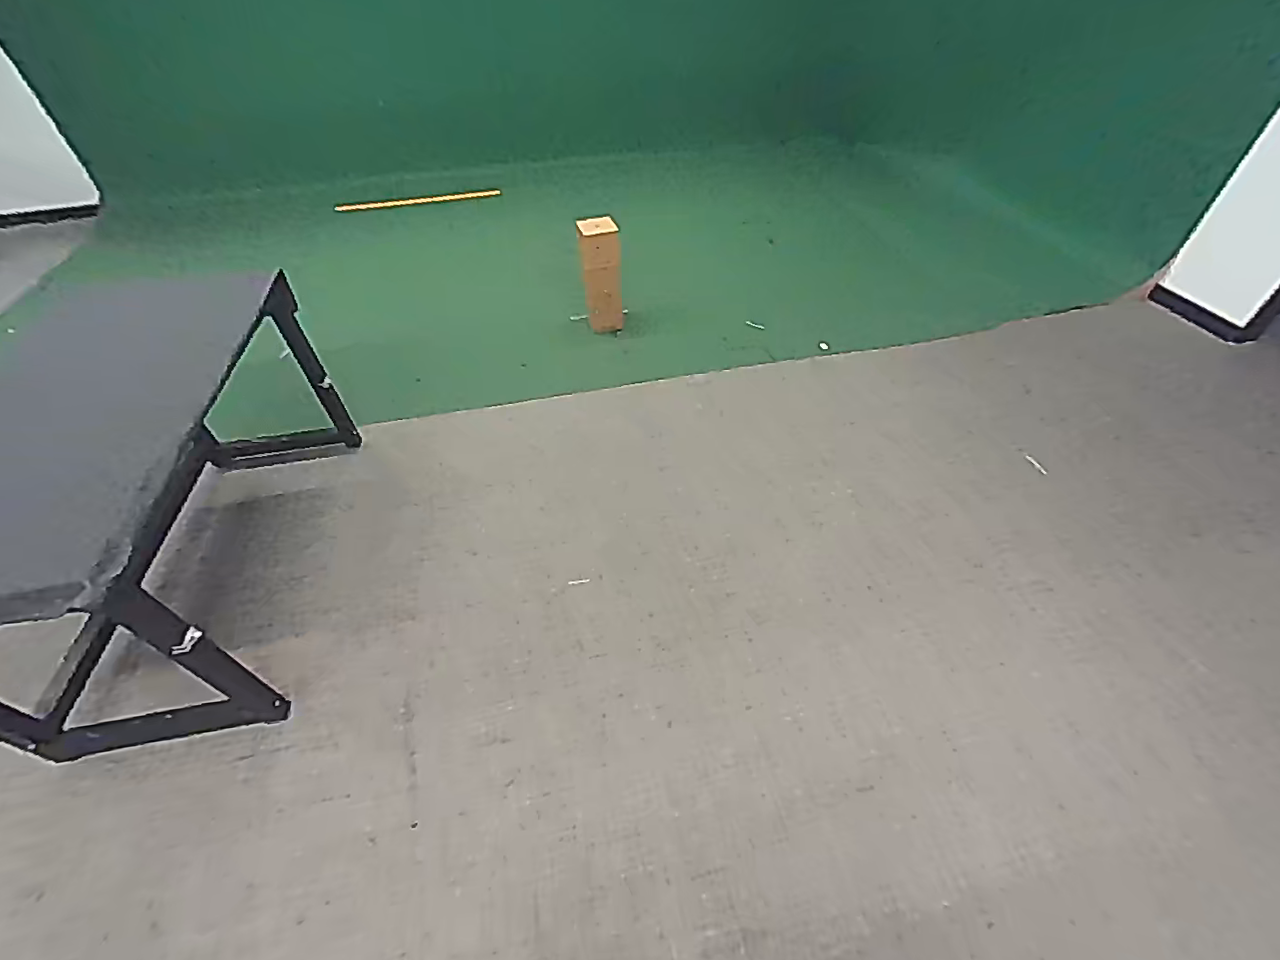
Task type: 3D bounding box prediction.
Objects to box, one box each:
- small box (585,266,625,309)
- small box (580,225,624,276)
[{"bbox_3d":[-0.175,-0.978,2.698,0.168,0.176,0.179,-12,46,-8],"label":"small box"},{"bbox_3d":[-0.180,-1.090,2.581,0.168,0.176,0.179,-14,46,-10],"label":"small box"}]
